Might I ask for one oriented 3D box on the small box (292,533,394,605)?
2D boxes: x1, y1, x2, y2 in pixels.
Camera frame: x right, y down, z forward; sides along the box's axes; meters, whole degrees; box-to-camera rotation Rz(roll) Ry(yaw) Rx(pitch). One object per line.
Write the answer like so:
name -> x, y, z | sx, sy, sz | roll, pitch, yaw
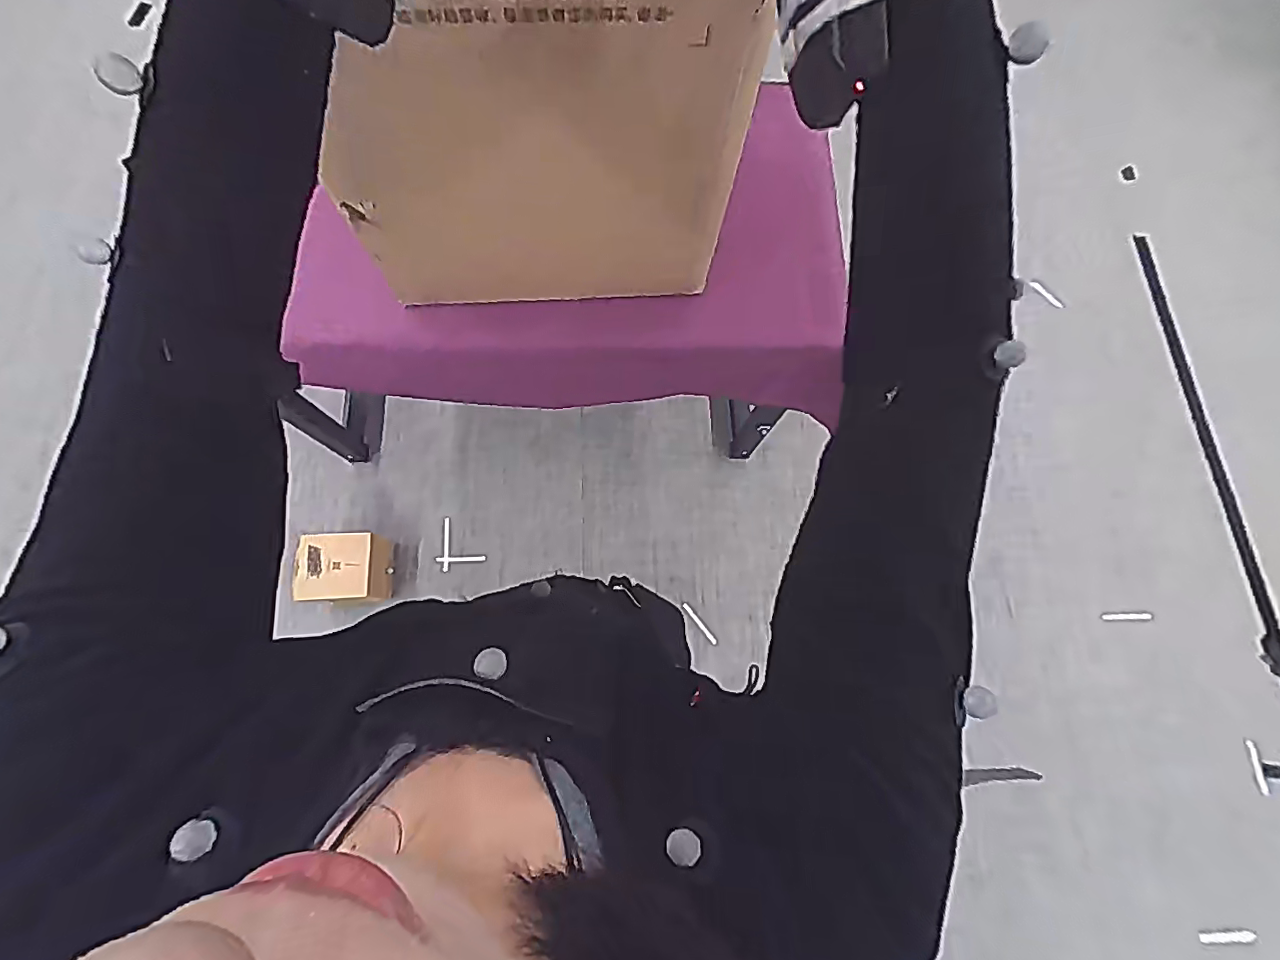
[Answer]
small box -> -0.769, 0.236, 1.416 | 0.179, 0.176, 0.168 | -2, 75, -5
